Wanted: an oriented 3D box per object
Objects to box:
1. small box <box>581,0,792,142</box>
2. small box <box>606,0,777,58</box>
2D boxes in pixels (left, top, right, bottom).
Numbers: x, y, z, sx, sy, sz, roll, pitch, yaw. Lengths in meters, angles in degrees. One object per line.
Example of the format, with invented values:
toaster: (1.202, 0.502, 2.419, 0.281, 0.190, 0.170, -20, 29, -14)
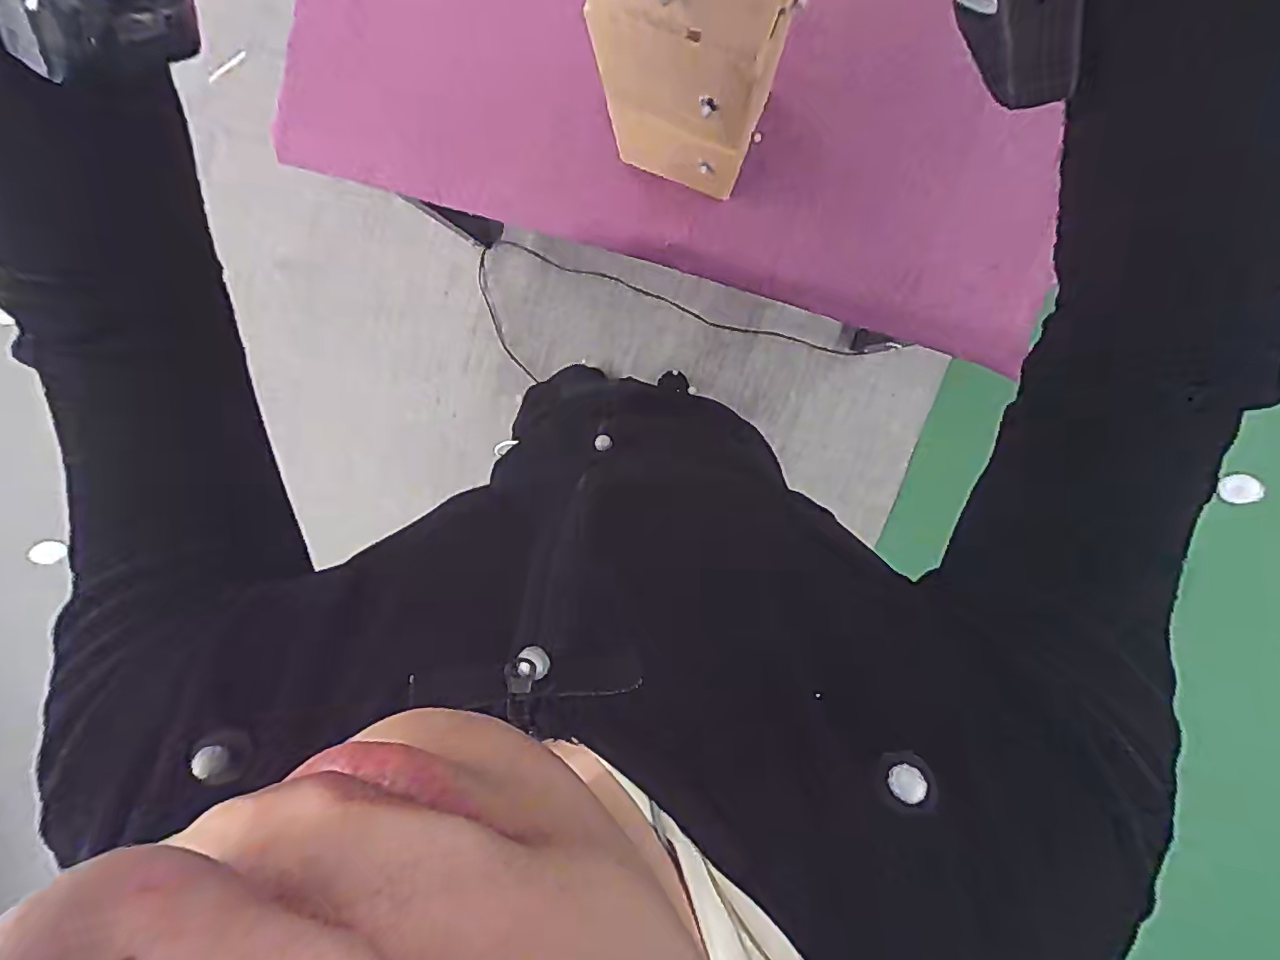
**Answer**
small box: (0.060, -0.491, 0.565, 0.179, 0.176, 0.168, 21, 100, 1)
small box: (0.050, -0.472, 0.403, 0.168, 0.176, 0.179, 21, 100, 0)
